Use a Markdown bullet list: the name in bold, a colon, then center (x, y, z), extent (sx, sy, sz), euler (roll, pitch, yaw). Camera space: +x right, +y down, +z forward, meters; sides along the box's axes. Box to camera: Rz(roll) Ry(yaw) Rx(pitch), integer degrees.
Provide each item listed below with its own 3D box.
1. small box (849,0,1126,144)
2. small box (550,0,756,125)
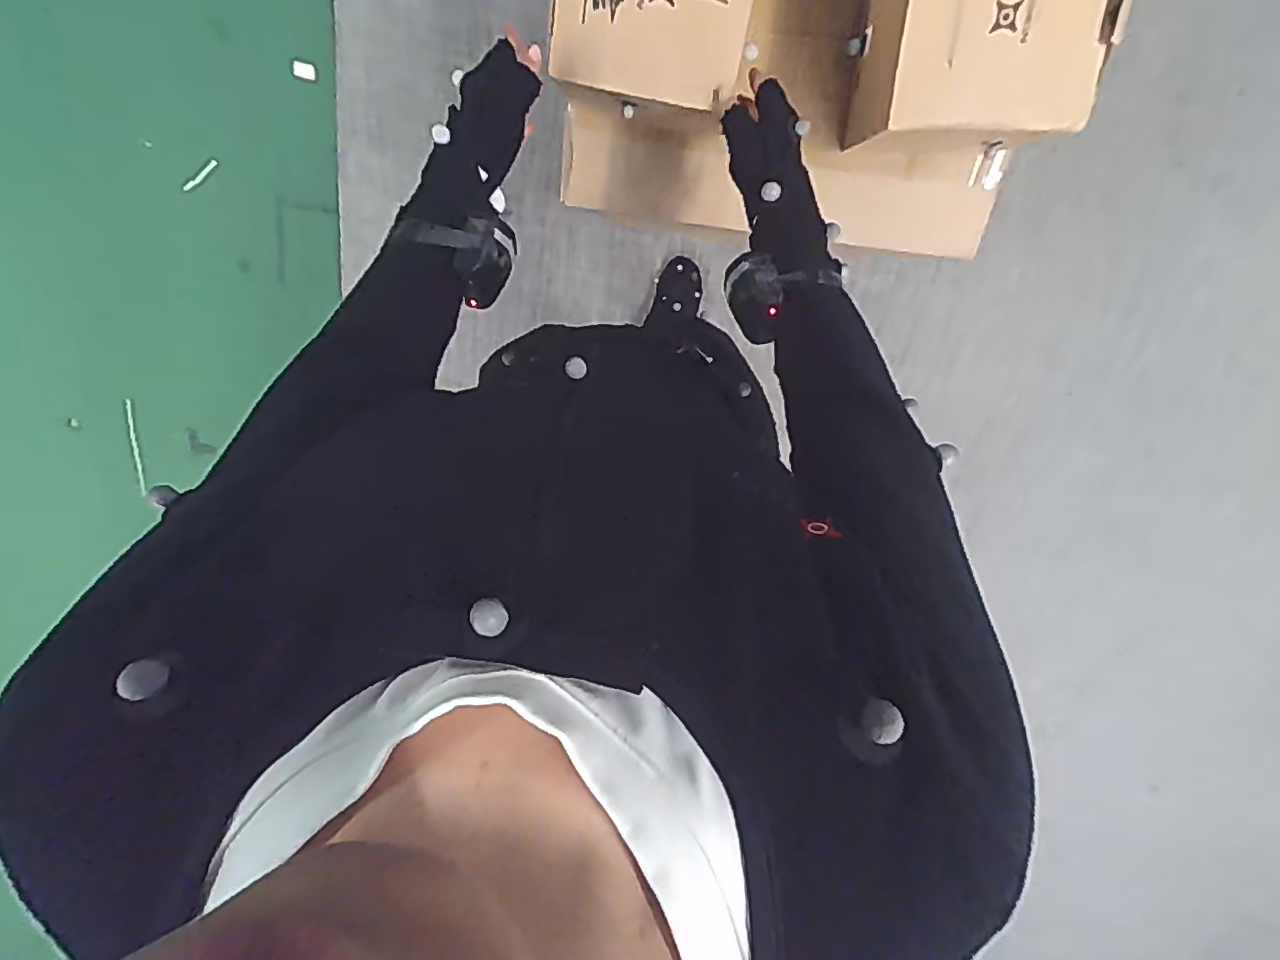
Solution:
- **small box**: center (0.321, -0.431, 0.520), extent (0.179, 0.176, 0.168), euler (3, 115, 7)
- **small box**: center (0.024, -0.470, 0.535), extent (0.179, 0.176, 0.168), euler (12, 117, 1)
